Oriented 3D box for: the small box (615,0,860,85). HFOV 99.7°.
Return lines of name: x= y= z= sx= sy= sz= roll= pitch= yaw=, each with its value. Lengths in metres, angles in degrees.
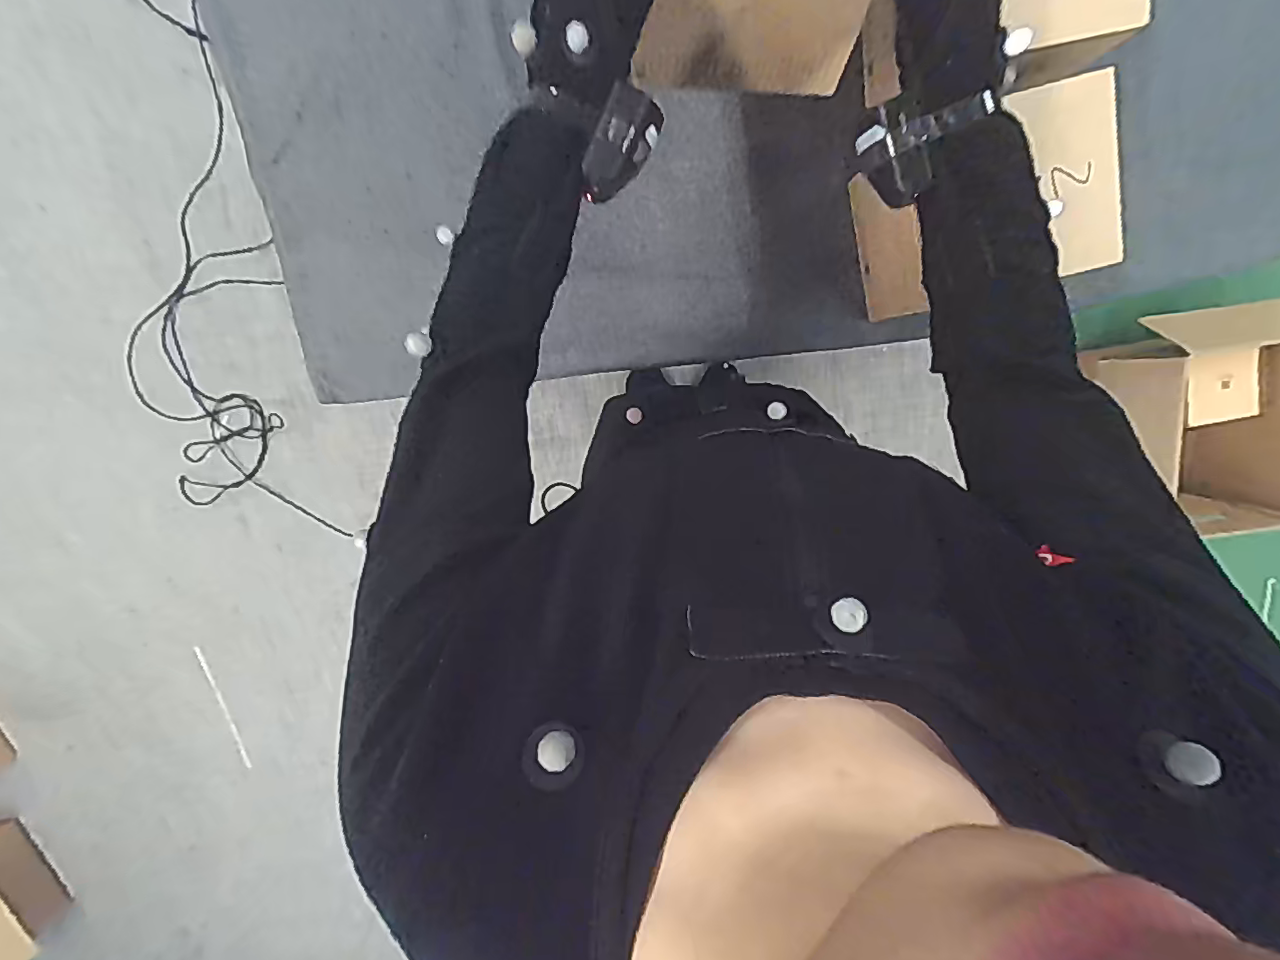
small box: x=0.073 y=-0.413 z=0.373 sx=0.179 sy=0.176 sz=0.168 roll=0 pitch=73 yaw=-4
